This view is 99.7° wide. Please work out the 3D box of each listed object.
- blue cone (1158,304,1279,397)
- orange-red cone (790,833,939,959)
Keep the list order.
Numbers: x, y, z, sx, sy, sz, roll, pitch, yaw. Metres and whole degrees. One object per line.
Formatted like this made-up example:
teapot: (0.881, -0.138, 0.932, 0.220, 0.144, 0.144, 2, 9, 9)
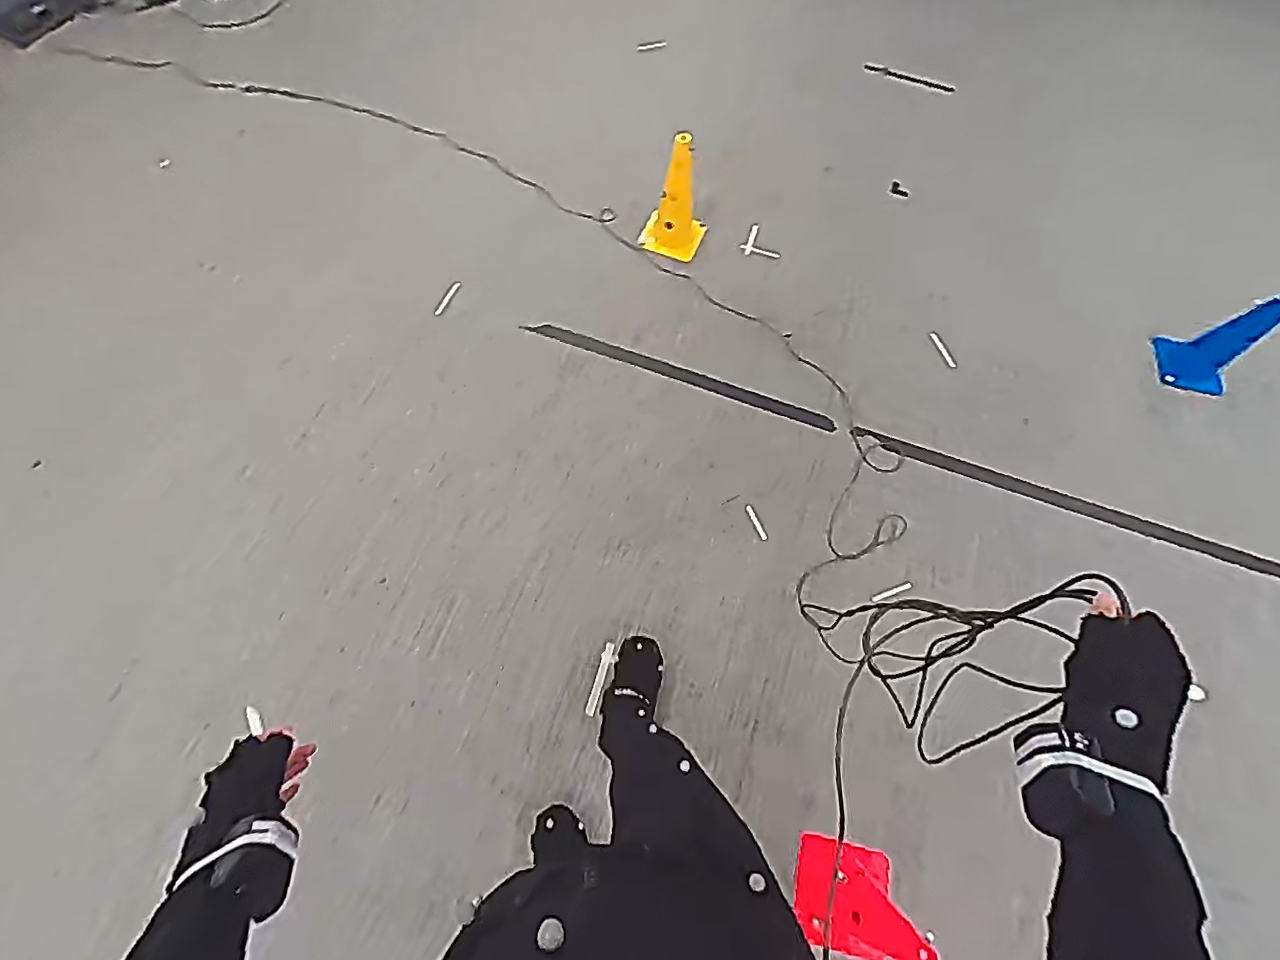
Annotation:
blue cone: (1.809, -0.433, 1.620, 0.193, 0.380, 0.192, 15, 66, 3)
orange-red cone: (0.438, 0.817, 0.993, 0.199, 0.360, 0.198, 16, 67, 3)
